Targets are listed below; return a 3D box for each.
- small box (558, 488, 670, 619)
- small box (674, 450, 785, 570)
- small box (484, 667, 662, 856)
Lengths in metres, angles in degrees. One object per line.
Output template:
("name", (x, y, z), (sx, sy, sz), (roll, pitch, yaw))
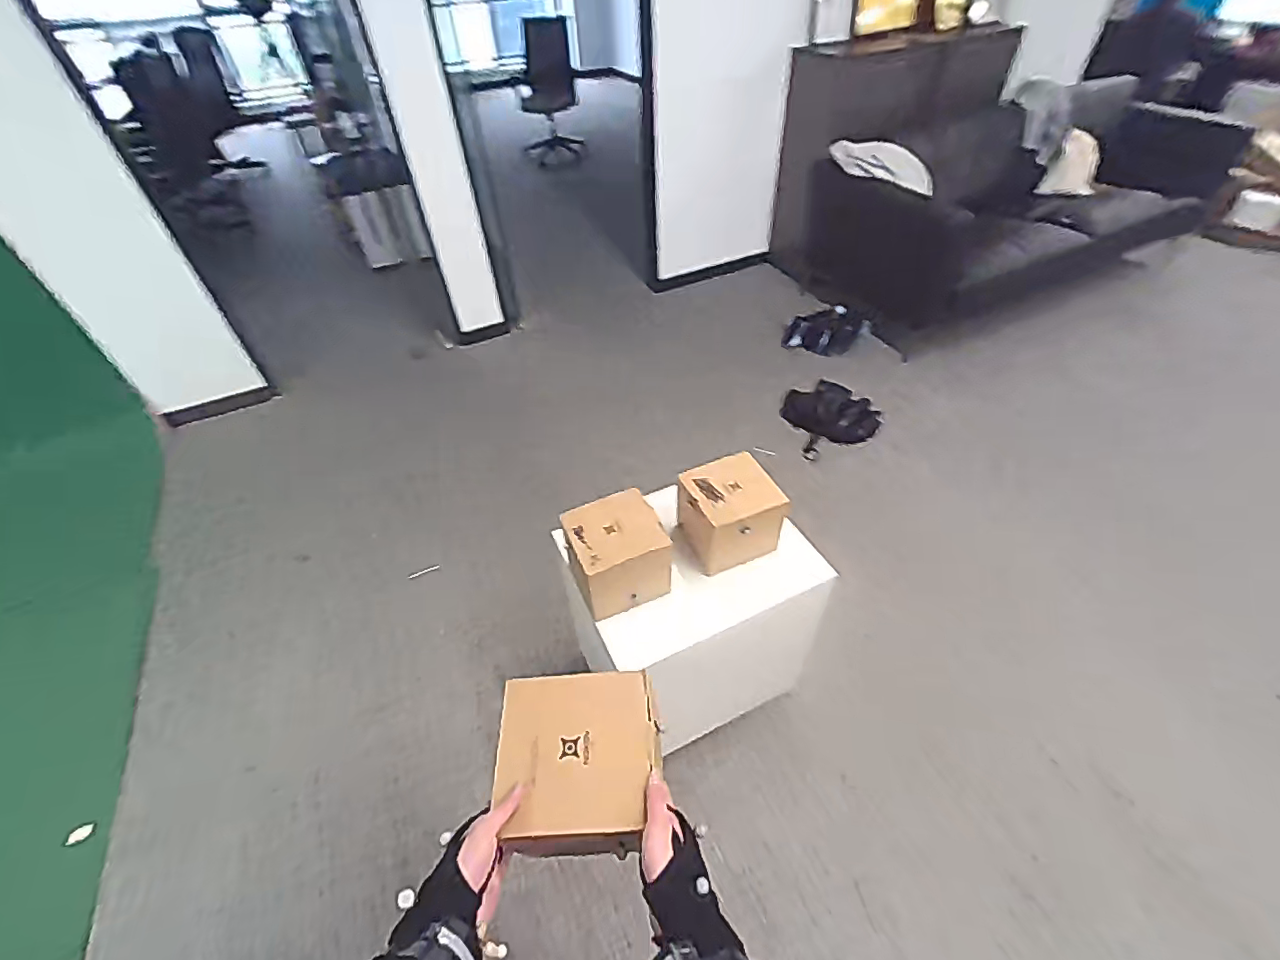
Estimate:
("small box", (-0.053, 0.149, 1.099), (0.179, 0.176, 0.168), (-19, 47, -17))
("small box", (0.185, 0.068, 1.165), (0.179, 0.176, 0.168), (-18, 48, -15))
("small box", (-0.066, 0.342, 0.653), (0.179, 0.176, 0.168), (-7, 48, 4))
